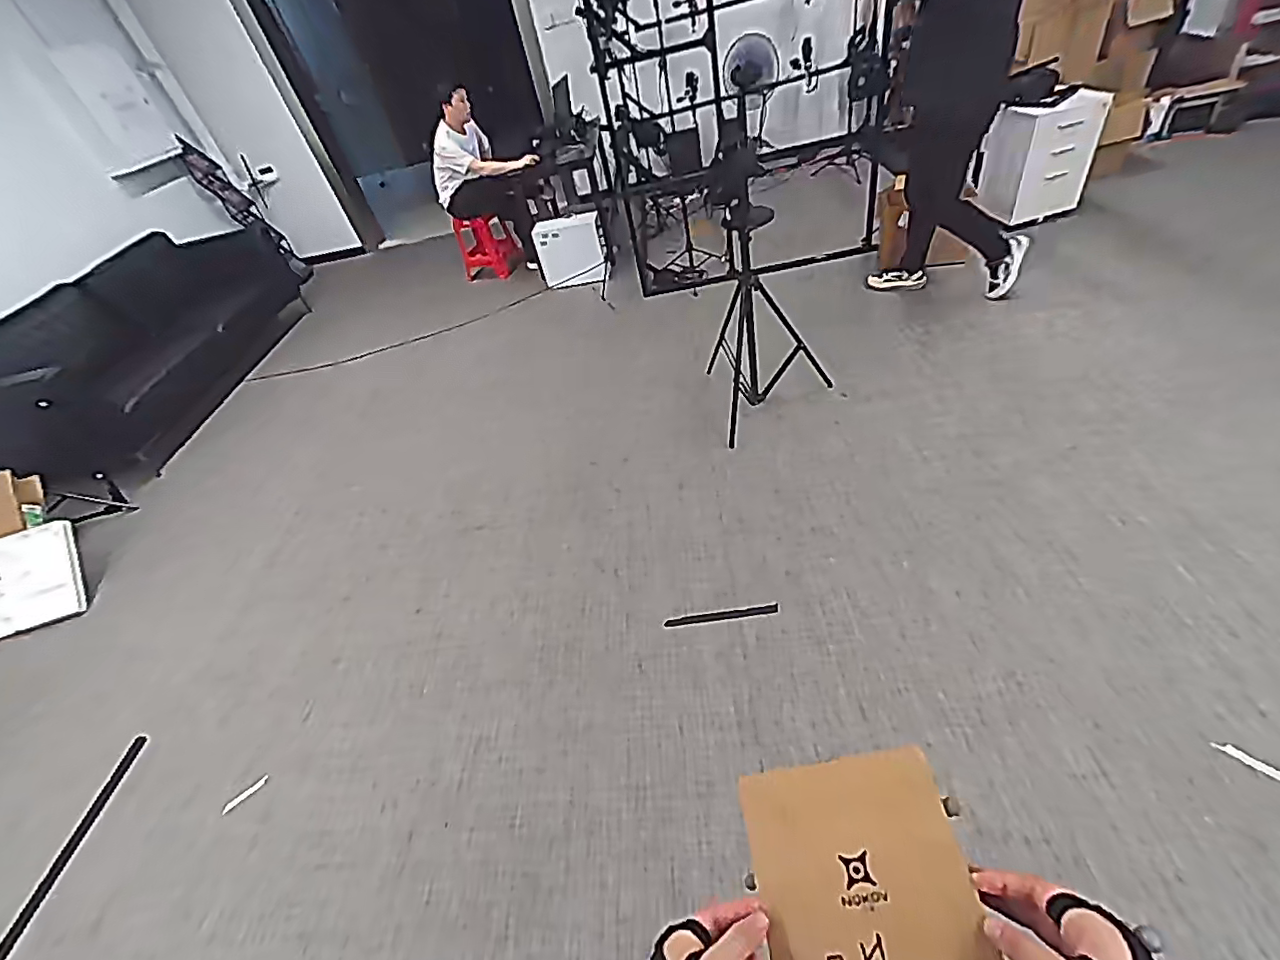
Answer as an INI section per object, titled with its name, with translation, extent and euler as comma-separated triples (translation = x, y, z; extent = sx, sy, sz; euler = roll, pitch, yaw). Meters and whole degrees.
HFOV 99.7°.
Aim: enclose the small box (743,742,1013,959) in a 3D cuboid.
[small box]
translation = 0.202, 0.358, 0.486
extent = 0.168, 0.176, 0.179
euler = -17, 52, 11
